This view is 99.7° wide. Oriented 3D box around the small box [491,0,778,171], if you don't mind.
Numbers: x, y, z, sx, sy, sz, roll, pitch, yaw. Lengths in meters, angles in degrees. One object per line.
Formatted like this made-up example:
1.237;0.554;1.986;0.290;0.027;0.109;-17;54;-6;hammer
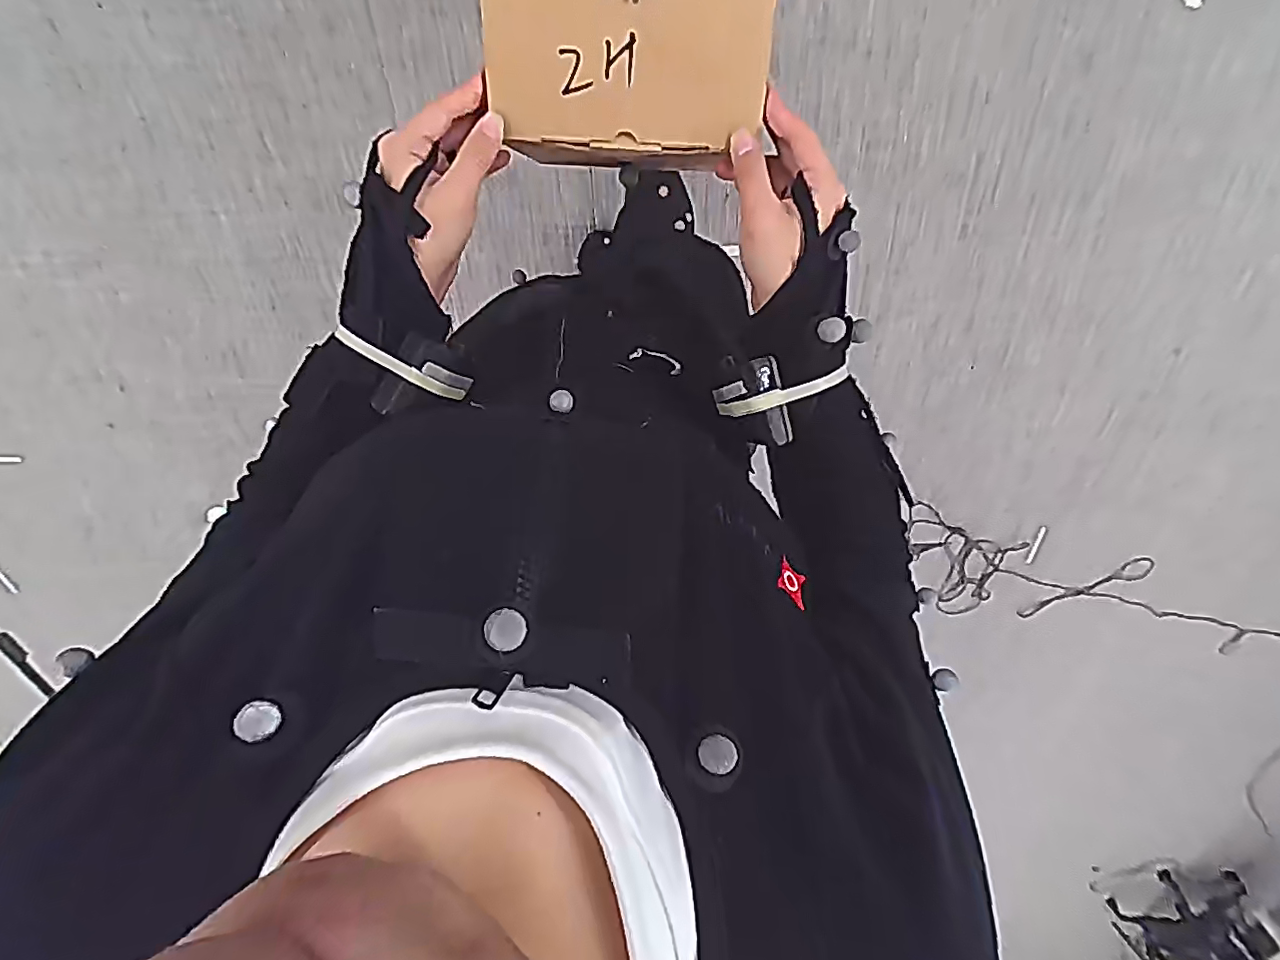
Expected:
-0.003;-0.323;0.371;0.168;0.176;0.179;3;116;-1;small box
